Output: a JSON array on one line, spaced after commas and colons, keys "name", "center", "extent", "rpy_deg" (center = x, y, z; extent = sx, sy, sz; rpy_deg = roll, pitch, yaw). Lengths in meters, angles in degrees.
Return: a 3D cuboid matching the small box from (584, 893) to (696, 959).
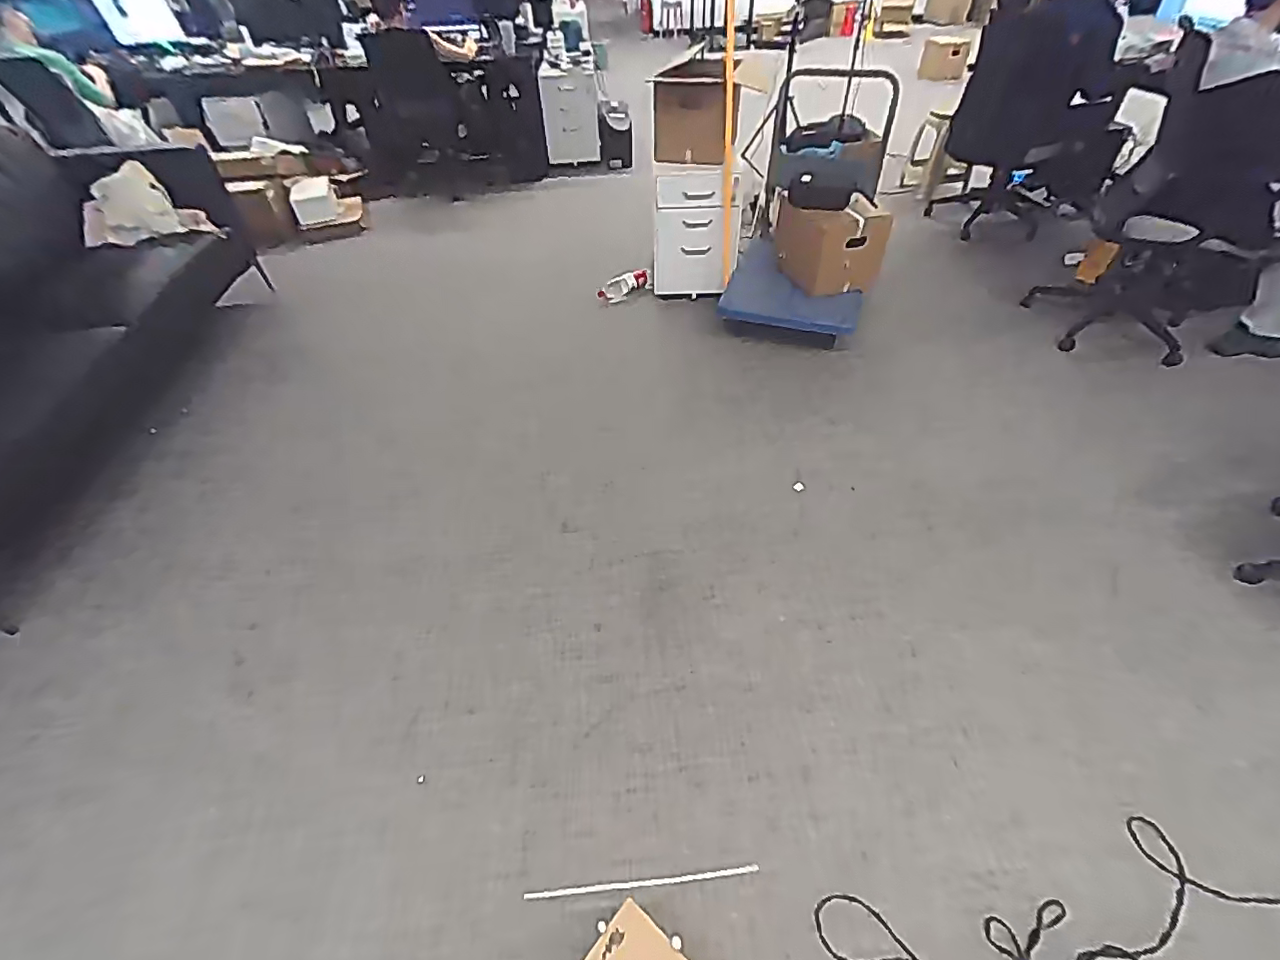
[{"name": "small box", "center": [0.004, 0.868, 0.939], "extent": [0.179, 0.176, 0.168], "rpy_deg": [31, 56, 29]}]
